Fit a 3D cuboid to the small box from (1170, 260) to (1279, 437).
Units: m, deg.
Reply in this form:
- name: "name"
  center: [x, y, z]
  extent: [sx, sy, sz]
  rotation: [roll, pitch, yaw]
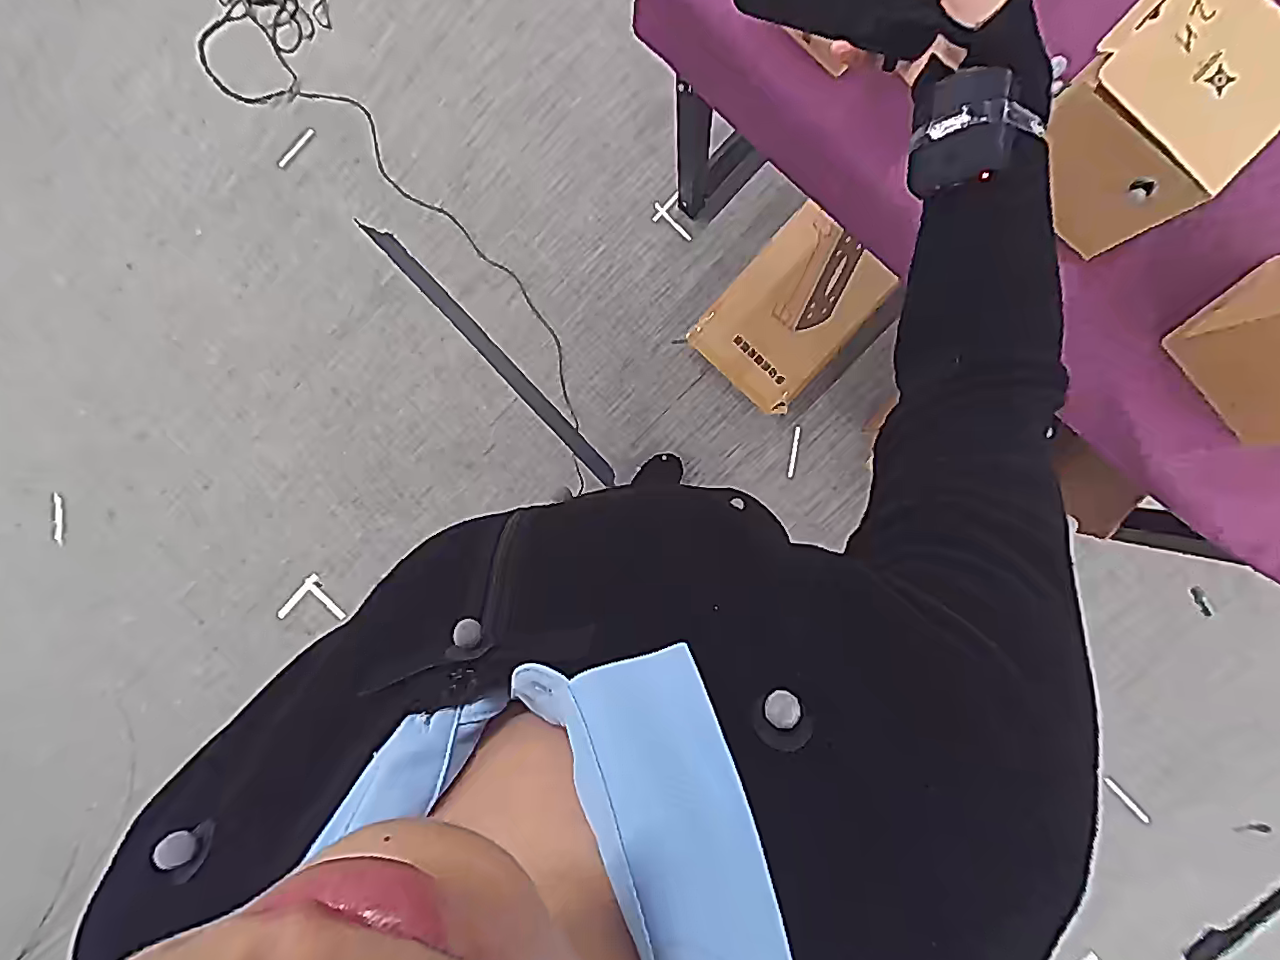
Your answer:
- name: "small box"
  center: [0.777, -0.161, 0.605]
  extent: [0.168, 0.176, 0.179]
  rotation: [-39, 89, 5]

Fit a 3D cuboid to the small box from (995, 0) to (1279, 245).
- name: "small box"
  center: [0.563, -0.397, 0.610]
  extent: [0.179, 0.176, 0.168]
  rotation: [43, 93, 1]
